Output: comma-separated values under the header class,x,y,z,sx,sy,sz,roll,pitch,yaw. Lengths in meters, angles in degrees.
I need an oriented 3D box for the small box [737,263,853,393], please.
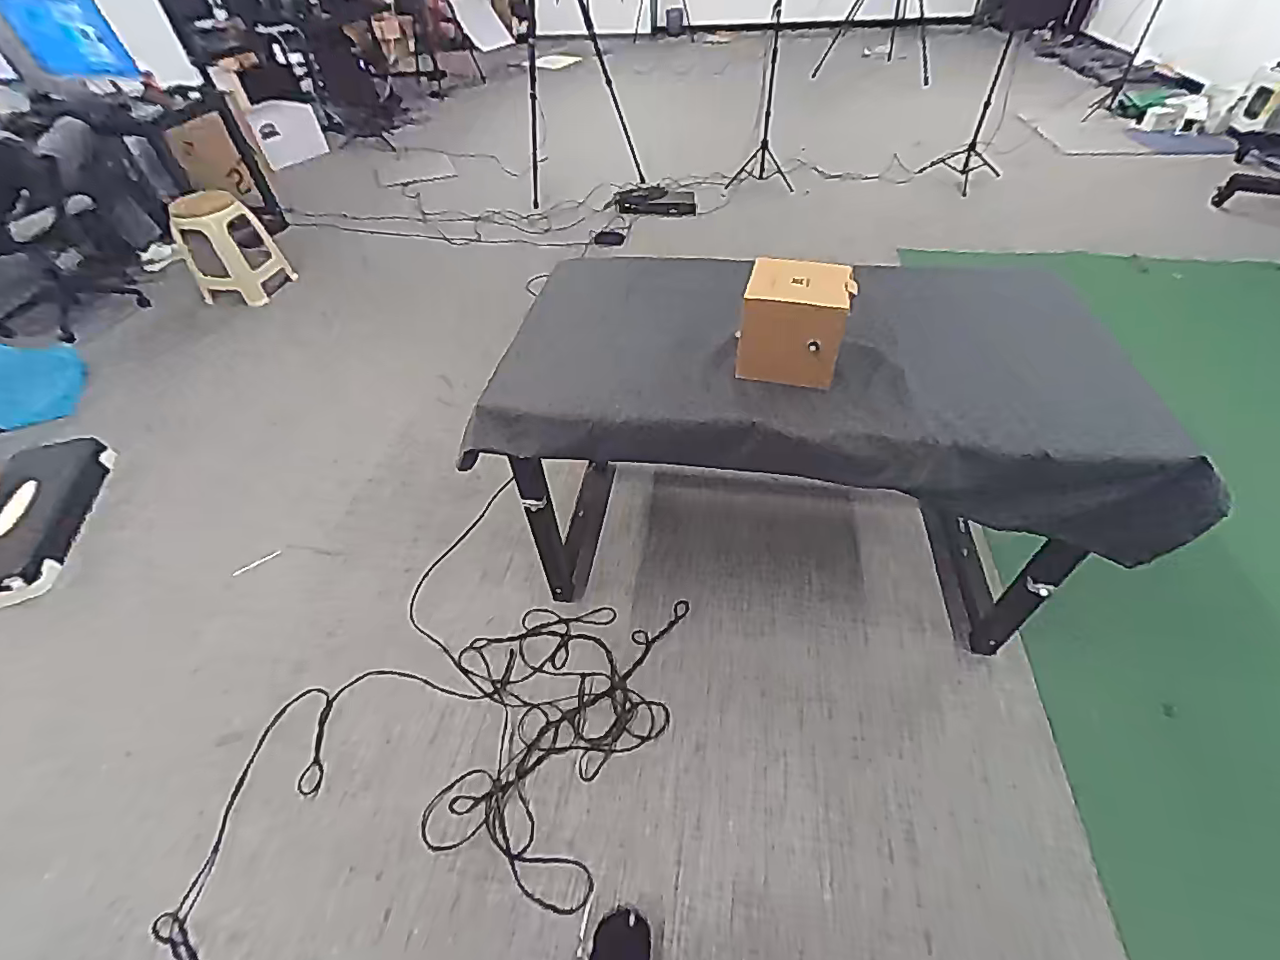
class,x,y,z,sx,sy,sz,roll,pitch,yaw
small box,0.285,-0.281,1.006,0.179,0.176,0.168,10,46,14
